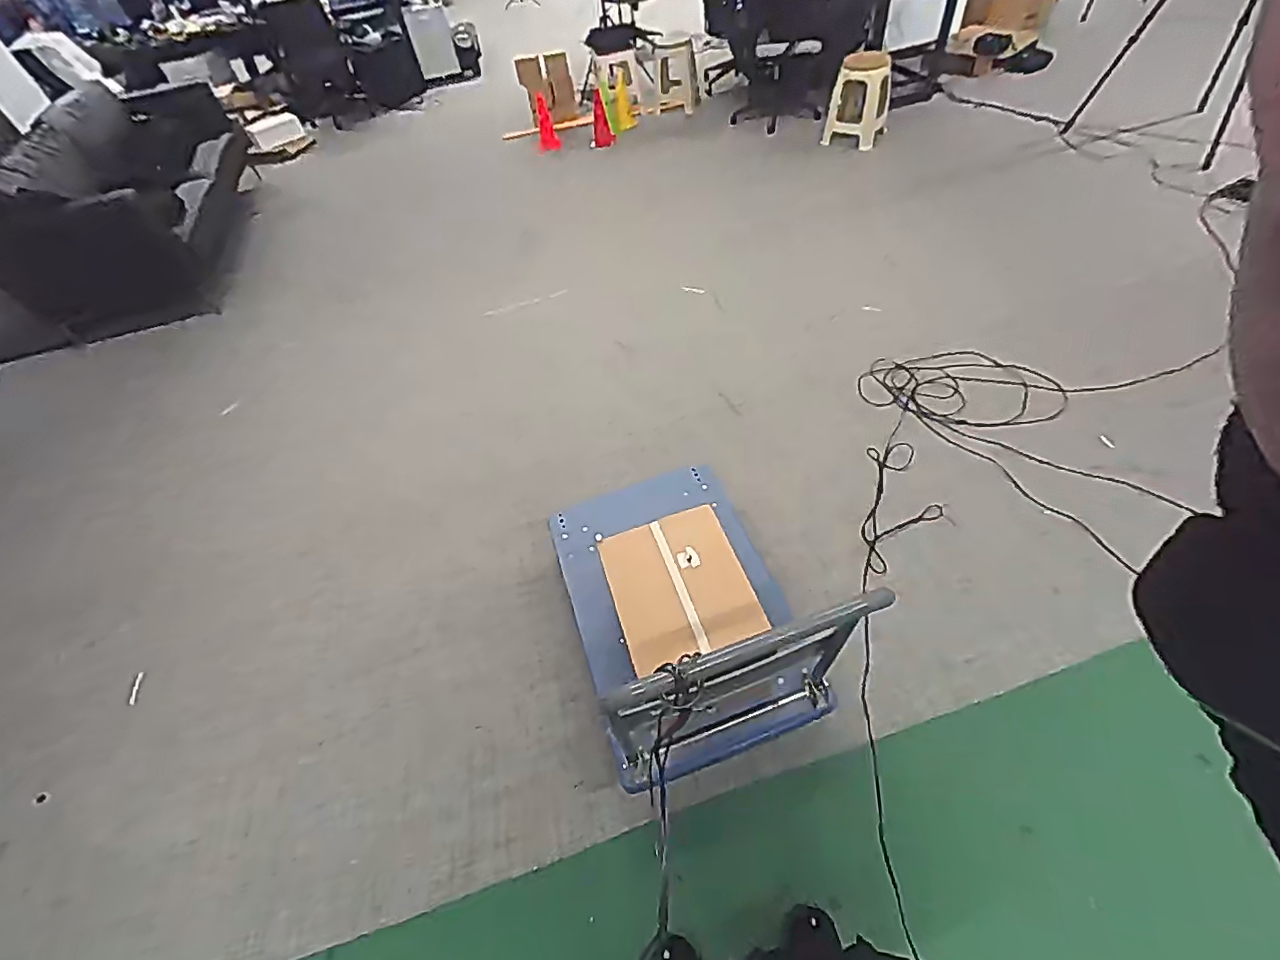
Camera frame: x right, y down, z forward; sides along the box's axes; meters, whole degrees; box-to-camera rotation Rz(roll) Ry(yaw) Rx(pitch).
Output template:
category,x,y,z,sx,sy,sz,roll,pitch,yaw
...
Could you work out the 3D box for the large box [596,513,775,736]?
category,x,y,z,sx,sy,sz,roll,pitch,yaw
large box,0.110,0.366,1.384,0.320,0.320,0.408,-17,50,-6
